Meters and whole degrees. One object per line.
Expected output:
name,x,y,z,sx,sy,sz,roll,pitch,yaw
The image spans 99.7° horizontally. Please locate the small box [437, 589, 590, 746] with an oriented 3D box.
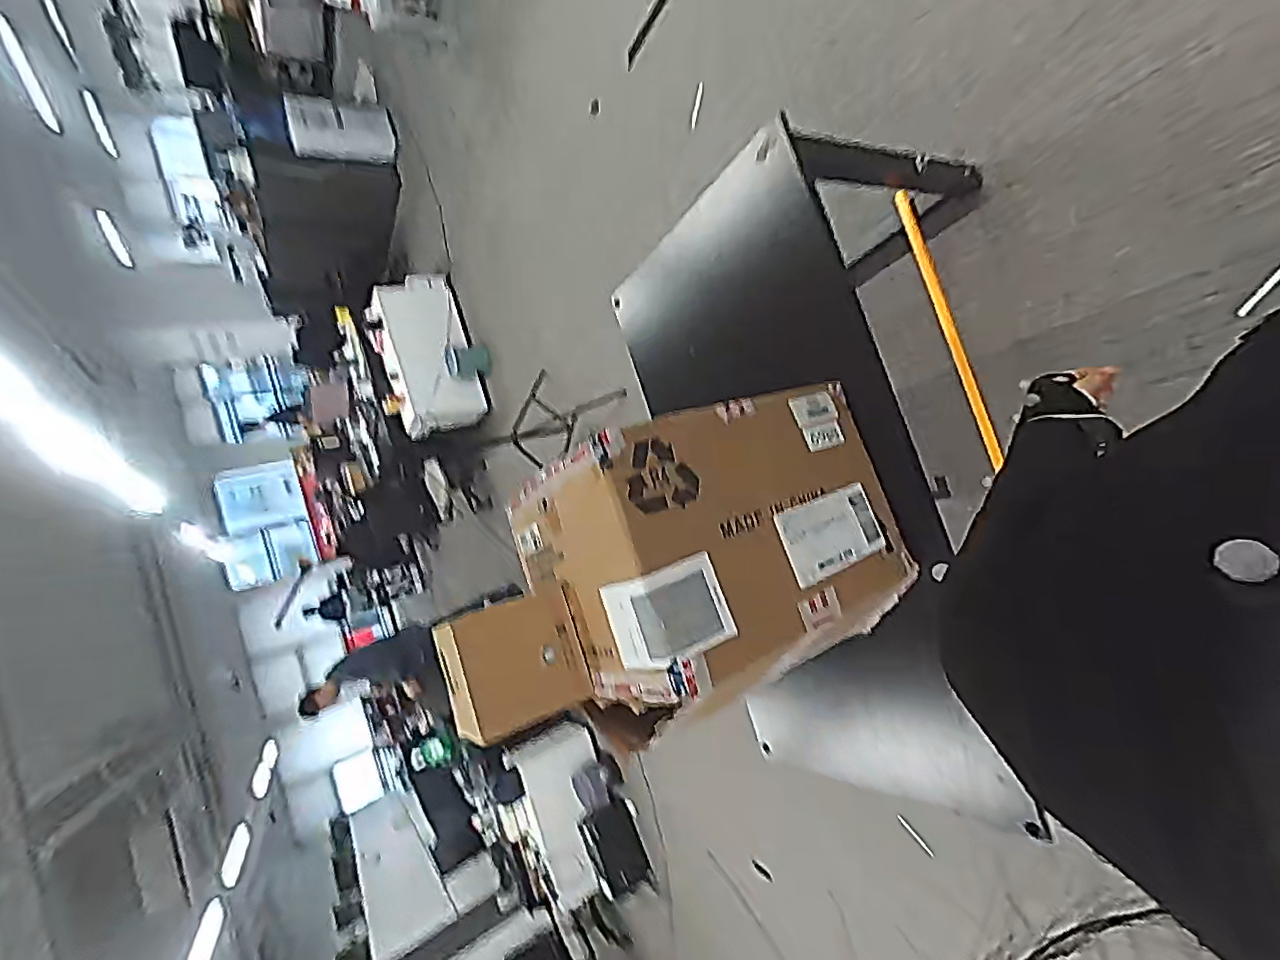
small box,-0.195,0.276,0.821,0.179,0.176,0.168,-35,72,58
